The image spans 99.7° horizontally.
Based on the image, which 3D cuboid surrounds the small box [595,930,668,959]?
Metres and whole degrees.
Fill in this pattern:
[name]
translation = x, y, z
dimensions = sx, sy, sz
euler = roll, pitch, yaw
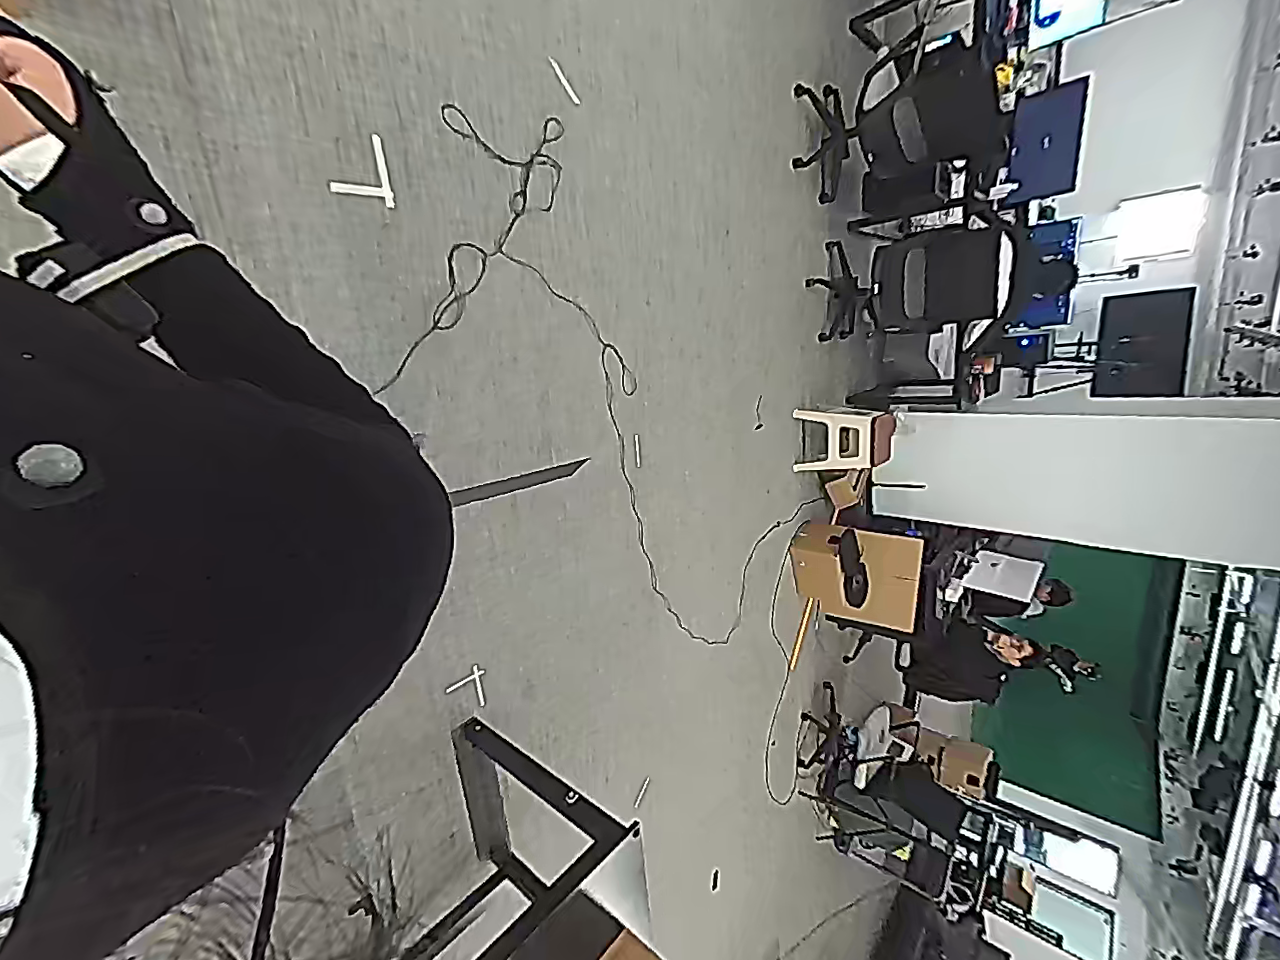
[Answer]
[small box]
translation = -0.024, 1.198, 1.244
dimensions = 0.168, 0.176, 0.179
euler = -22, 112, -43
